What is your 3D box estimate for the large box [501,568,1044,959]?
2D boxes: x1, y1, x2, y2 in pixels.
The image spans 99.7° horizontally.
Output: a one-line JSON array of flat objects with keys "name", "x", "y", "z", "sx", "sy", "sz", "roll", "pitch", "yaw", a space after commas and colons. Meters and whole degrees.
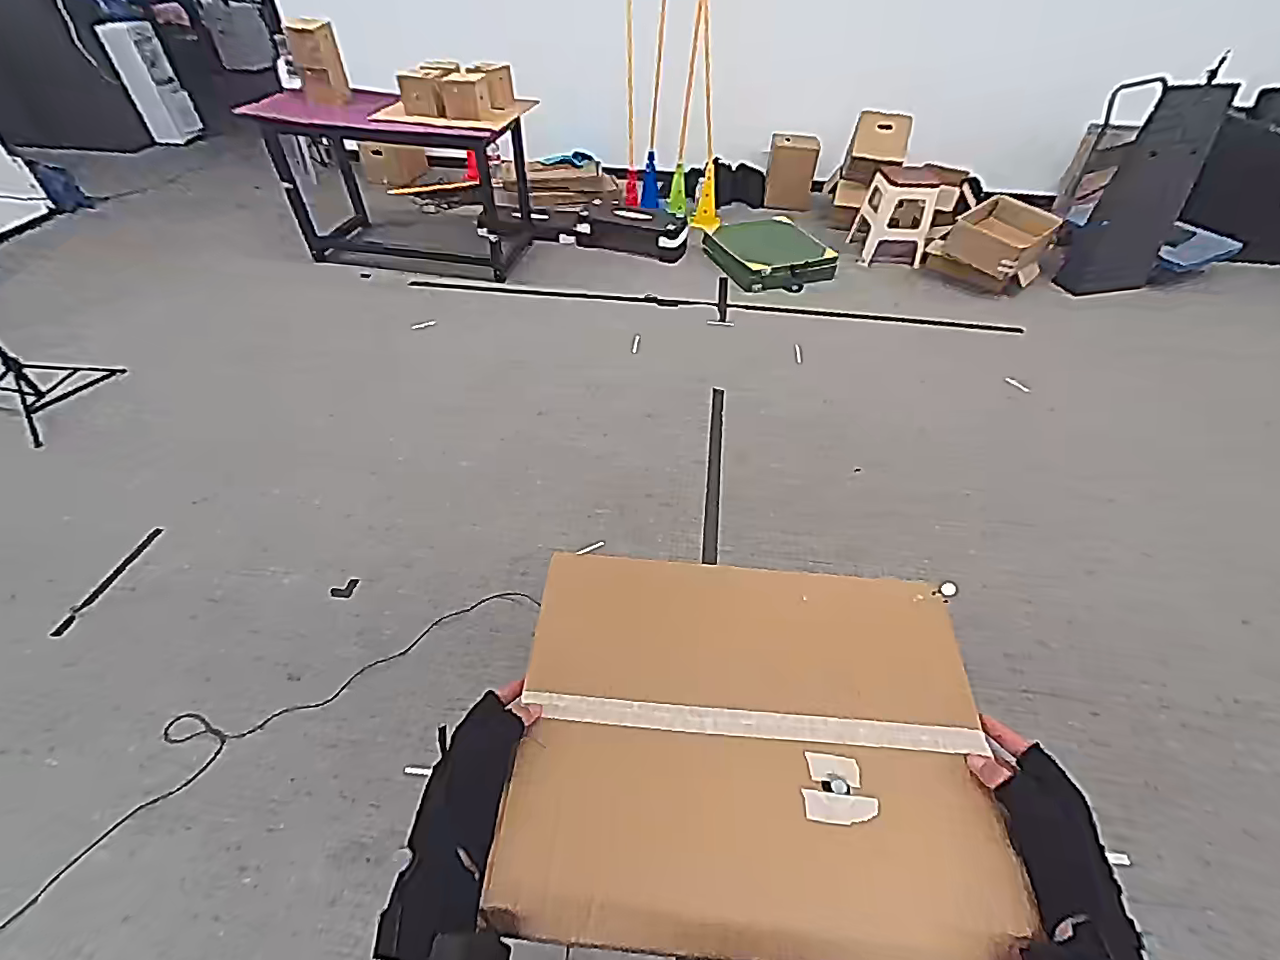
[{"name": "large box", "x": 0.099, "y": 0.319, "z": 0.597, "sx": 0.408, "sy": 0.320, "sz": 0.320, "roll": 5, "pitch": 52, "yaw": 2}]
